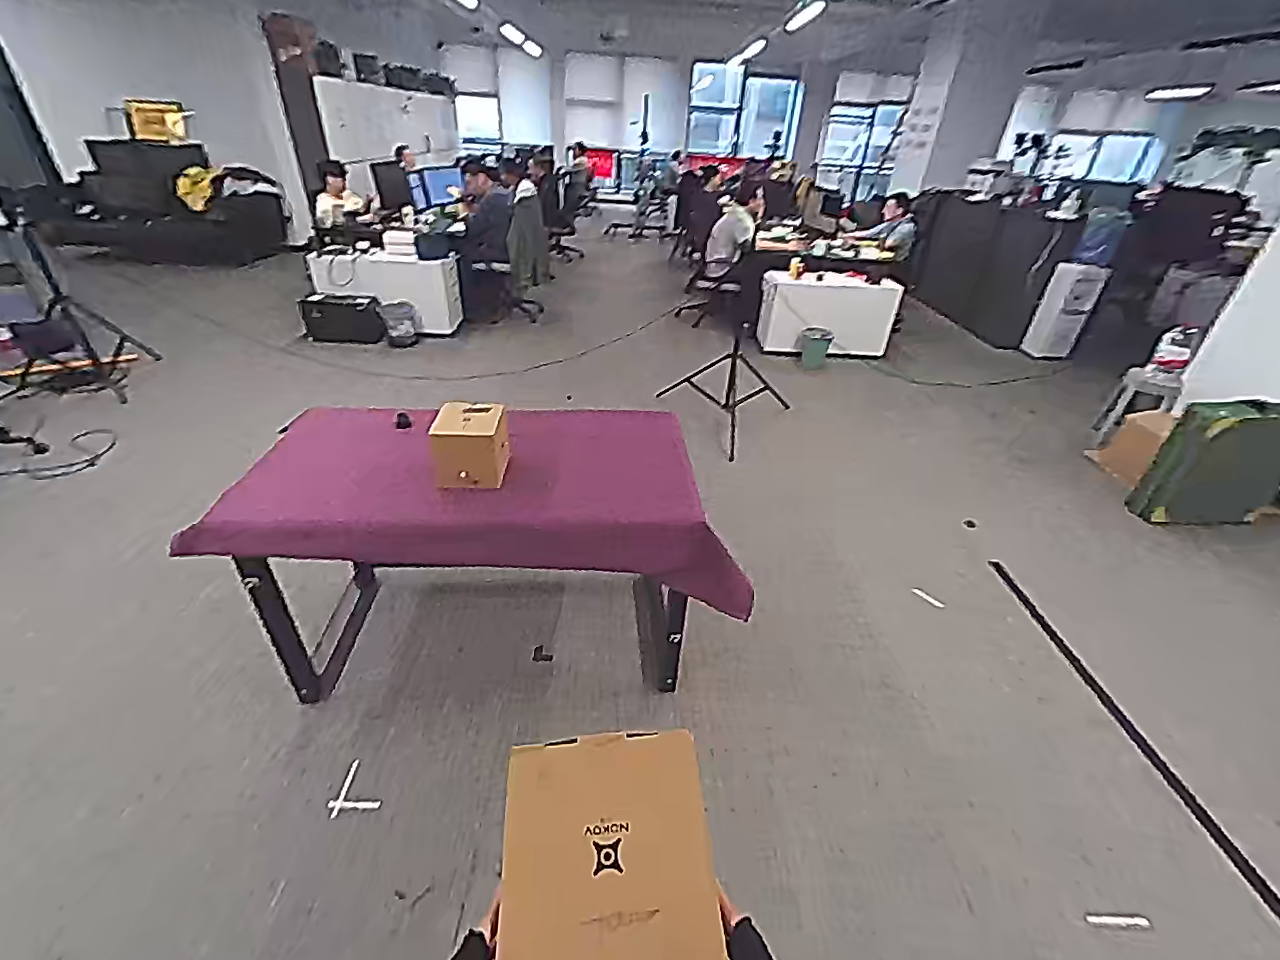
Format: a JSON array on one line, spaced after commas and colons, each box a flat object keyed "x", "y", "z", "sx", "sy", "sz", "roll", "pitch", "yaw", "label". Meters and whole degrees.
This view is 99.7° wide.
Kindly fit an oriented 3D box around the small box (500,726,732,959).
[{"x": -0.025, "y": 0.348, "z": 0.483, "sx": 0.168, "sy": 0.176, "sz": 0.179, "roll": -4, "pitch": 44, "yaw": -5, "label": "small box"}]

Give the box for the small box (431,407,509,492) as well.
[{"x": -0.453, "y": -0.084, "z": 1.474, "sx": 0.168, "sy": 0.176, "sz": 0.179, "roll": 1, "pitch": 33, "yaw": -4, "label": "small box"}]
